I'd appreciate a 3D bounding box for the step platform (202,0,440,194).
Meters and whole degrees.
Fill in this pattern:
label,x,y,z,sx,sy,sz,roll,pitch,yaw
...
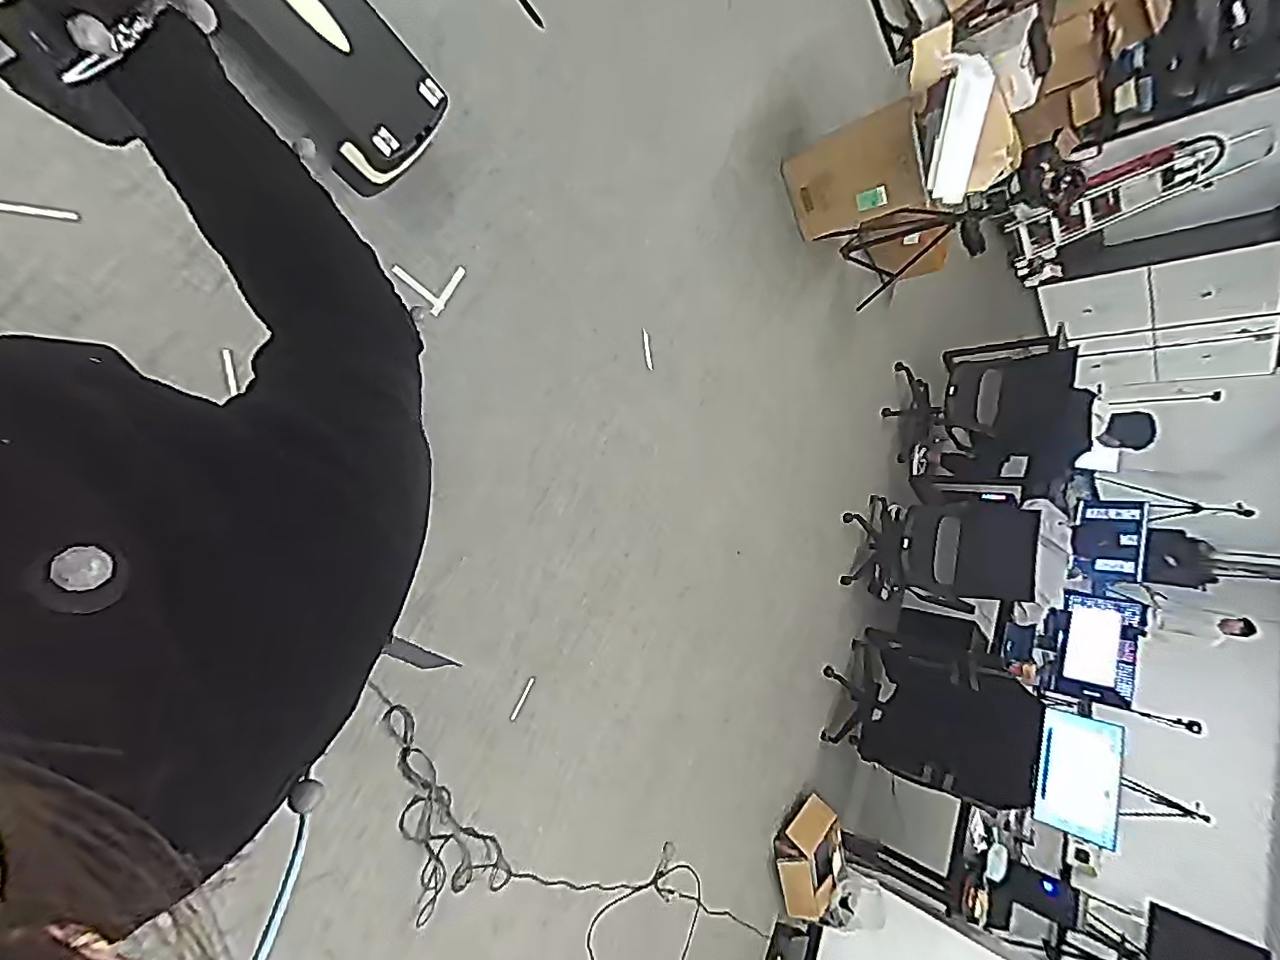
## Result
label,x,y,z,sx,sy,sz,roll,pitch,yaw
step platform,-0.782,-1.017,1.173,0.684,0.204,0.286,47,62,-32
